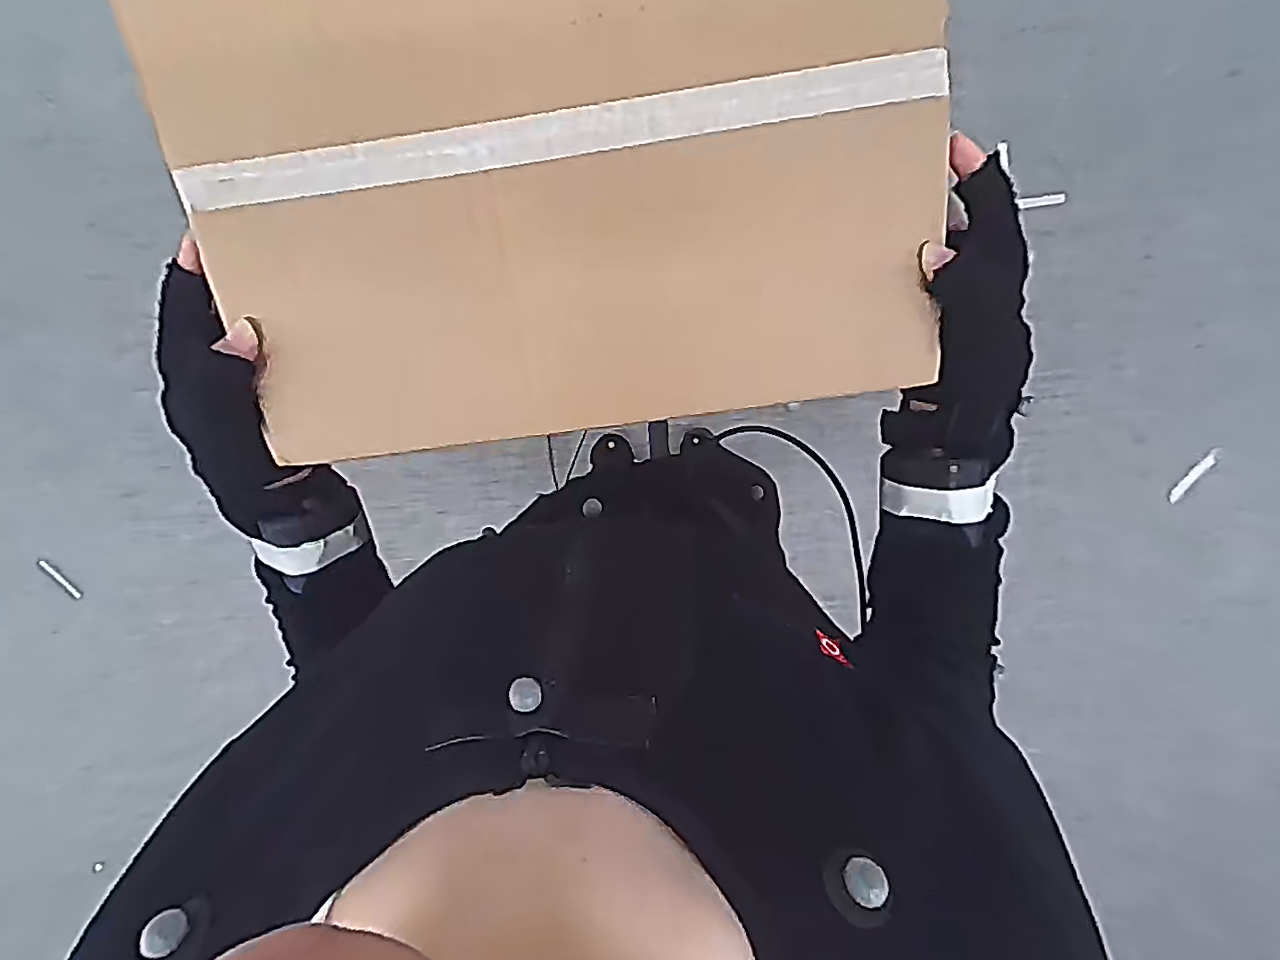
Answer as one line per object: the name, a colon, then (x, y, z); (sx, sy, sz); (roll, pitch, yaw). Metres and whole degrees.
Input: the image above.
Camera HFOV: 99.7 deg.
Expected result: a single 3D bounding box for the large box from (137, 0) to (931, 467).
large box: (-0.043, -0.225, 0.434); (0.408, 0.320, 0.320); (-7, 107, 3)
